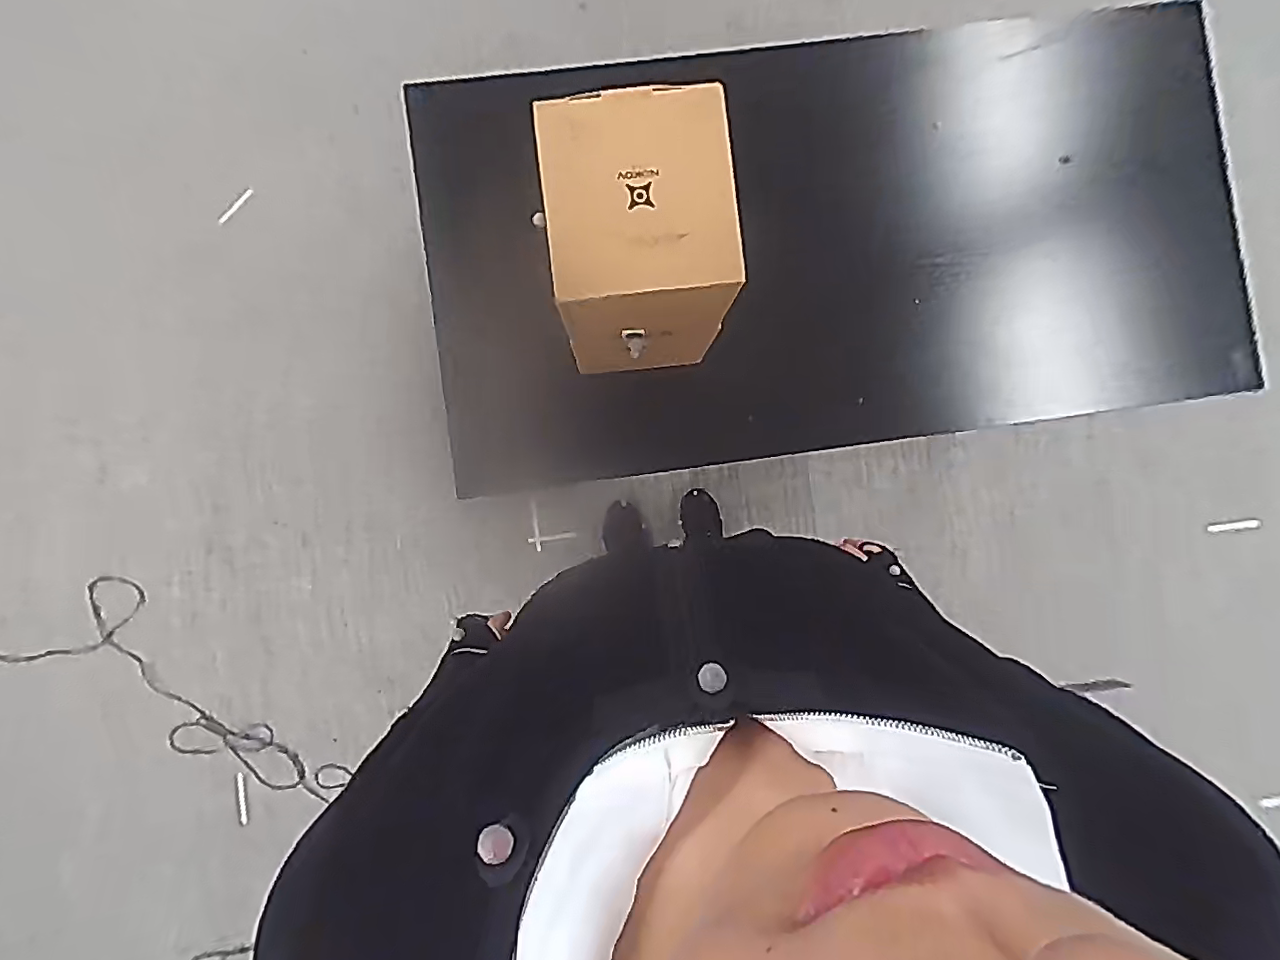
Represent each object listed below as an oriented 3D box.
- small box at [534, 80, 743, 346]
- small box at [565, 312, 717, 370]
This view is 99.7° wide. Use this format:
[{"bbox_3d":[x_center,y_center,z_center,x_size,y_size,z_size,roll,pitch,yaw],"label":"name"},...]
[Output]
[{"bbox_3d":[-0.004,-0.249,0.542,0.168,0.176,0.179,-8,90,-1],"label":"small box"},{"bbox_3d":[-0.007,-0.248,0.705,0.179,0.176,0.168,-6,89,-3],"label":"small box"}]
